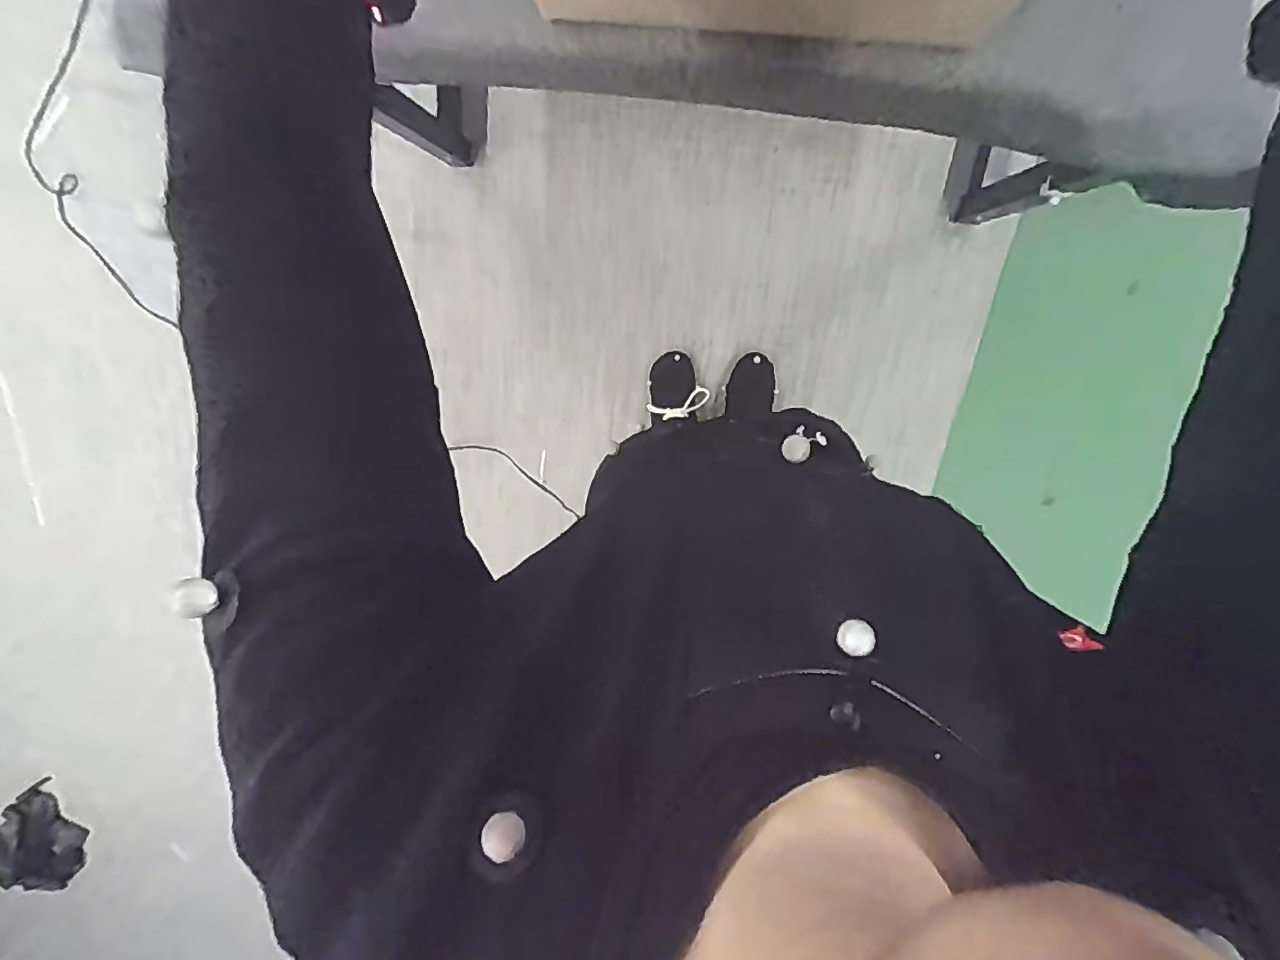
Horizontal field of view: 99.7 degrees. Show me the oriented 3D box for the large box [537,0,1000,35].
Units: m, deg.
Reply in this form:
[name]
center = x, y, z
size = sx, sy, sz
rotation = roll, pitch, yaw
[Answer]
[large box]
center = 0.103, -0.525, 0.320
size = 0.408, 0.320, 0.320
rotation = 5, 107, 3
